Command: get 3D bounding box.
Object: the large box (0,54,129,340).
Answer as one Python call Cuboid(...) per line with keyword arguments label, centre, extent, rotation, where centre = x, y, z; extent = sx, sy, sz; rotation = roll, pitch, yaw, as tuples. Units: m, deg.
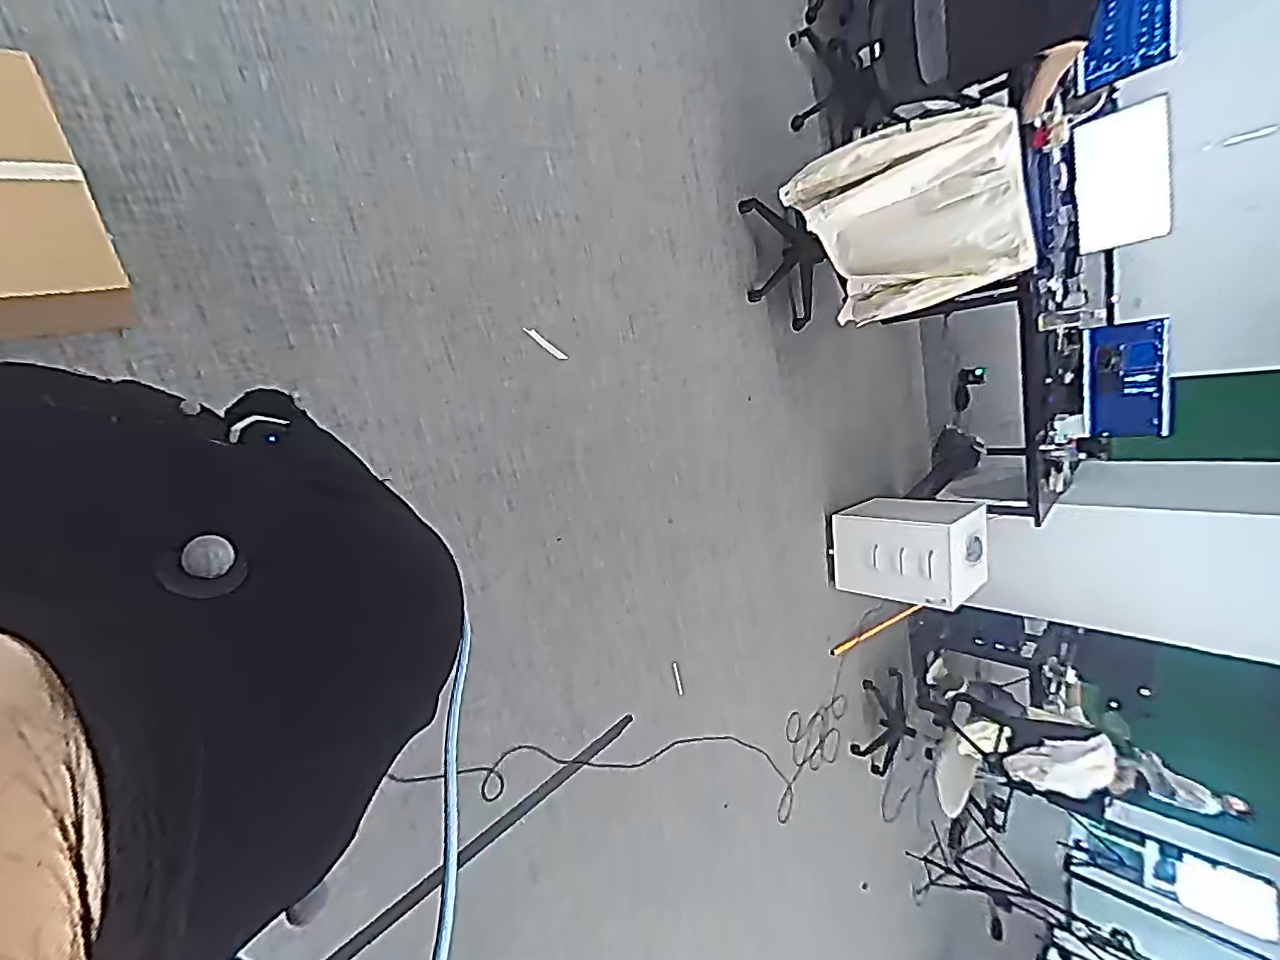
Cuboid(label="large box", centre=(-1.037, -0.365, 0.751), extent=(0.408, 0.320, 0.320), rotation=(-25, 109, -40))
